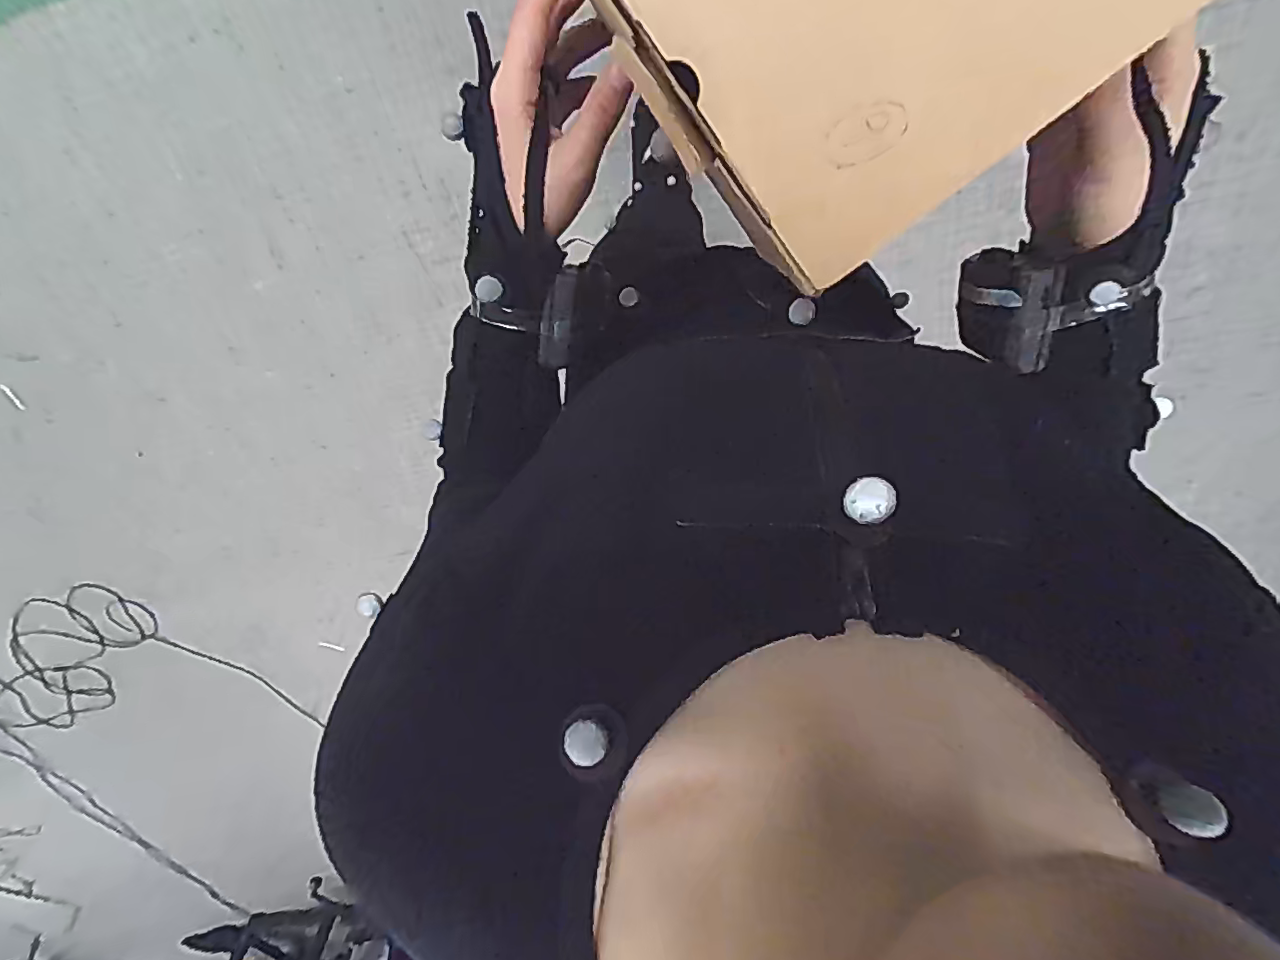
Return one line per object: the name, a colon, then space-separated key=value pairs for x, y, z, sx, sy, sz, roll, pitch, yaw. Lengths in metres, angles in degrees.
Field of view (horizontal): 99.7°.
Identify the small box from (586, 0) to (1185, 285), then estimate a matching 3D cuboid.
small box: x=0.084 y=-0.213 z=0.226 sx=0.179 sy=0.176 sz=0.168 roll=-35 pitch=109 yaw=22
